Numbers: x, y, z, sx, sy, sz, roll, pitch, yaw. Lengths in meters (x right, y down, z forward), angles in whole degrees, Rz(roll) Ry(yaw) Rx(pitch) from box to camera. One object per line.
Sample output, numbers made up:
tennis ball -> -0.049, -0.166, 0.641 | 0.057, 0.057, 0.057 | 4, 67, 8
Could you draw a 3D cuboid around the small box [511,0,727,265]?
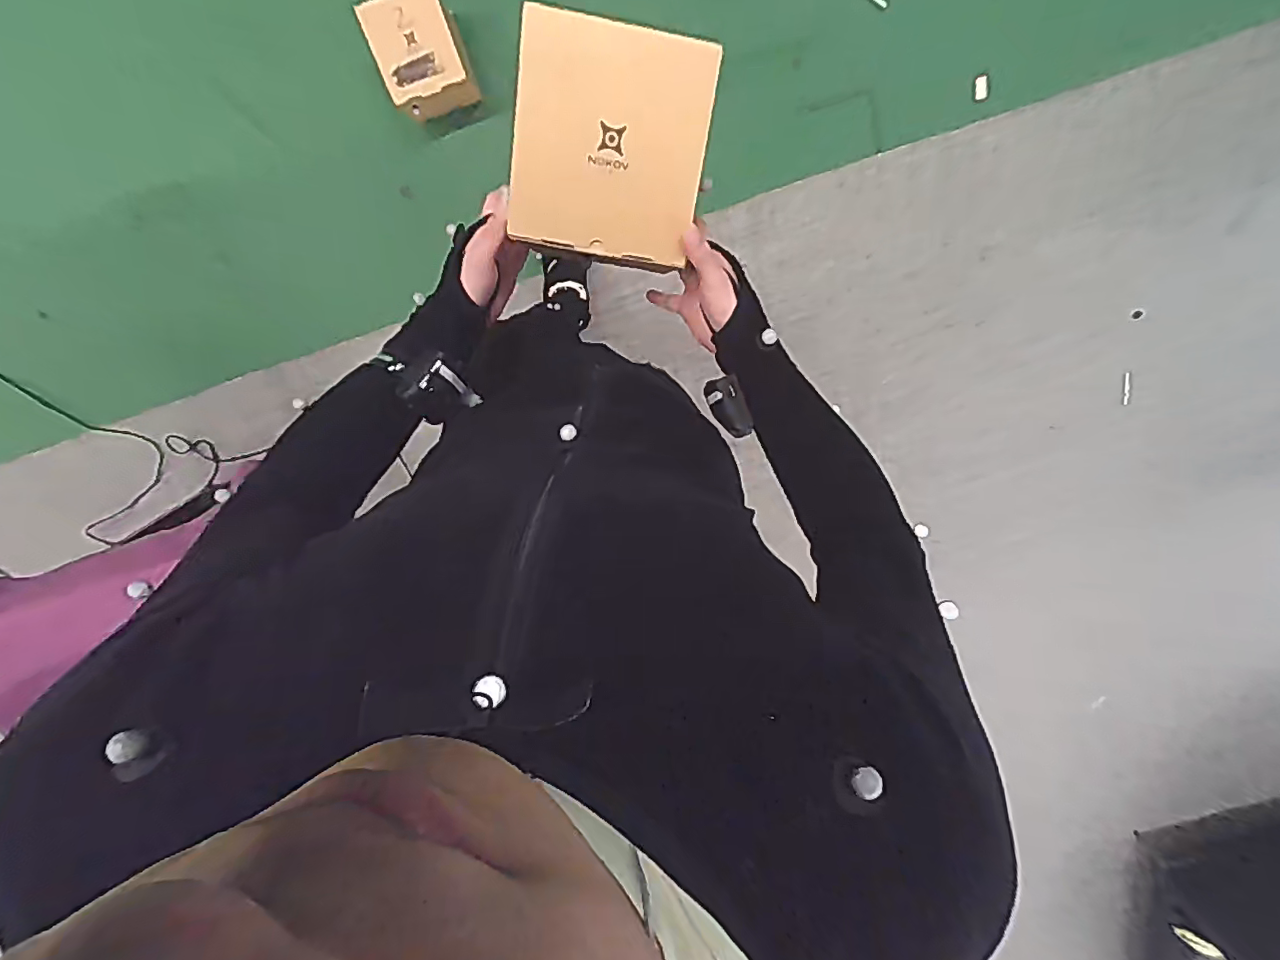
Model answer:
small box -> -0.027, -0.317, 0.531 | 0.168, 0.176, 0.179 | 7, 111, -6
